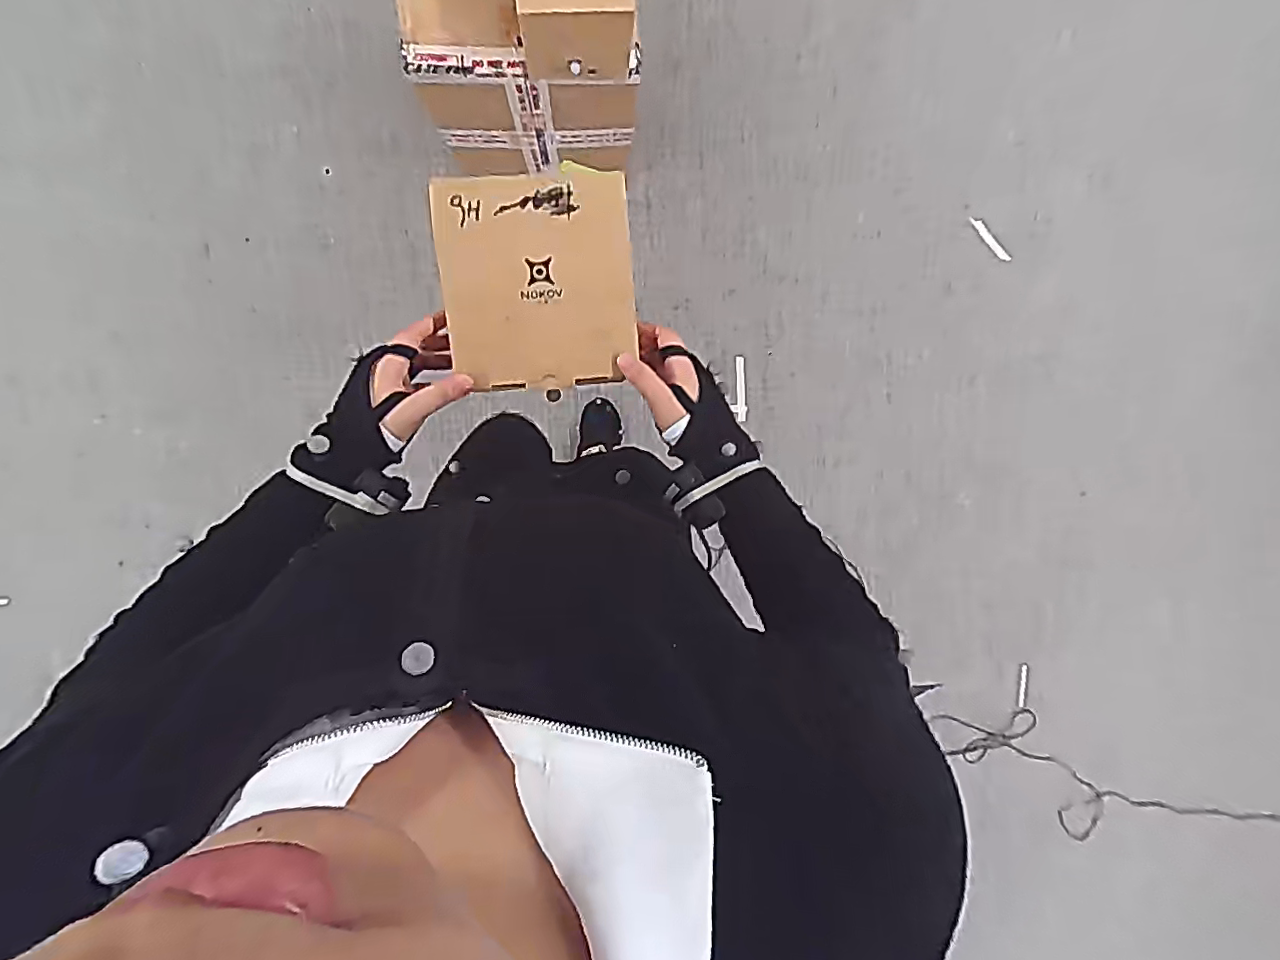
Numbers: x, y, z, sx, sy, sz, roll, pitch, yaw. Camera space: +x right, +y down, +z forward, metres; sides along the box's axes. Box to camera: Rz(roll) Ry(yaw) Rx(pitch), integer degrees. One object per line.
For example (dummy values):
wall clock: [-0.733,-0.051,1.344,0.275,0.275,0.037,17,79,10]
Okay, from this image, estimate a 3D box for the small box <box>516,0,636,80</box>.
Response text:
small box: [-0.098,-0.737,0.803,0.168,0.176,0.179,-4,101,-4]
